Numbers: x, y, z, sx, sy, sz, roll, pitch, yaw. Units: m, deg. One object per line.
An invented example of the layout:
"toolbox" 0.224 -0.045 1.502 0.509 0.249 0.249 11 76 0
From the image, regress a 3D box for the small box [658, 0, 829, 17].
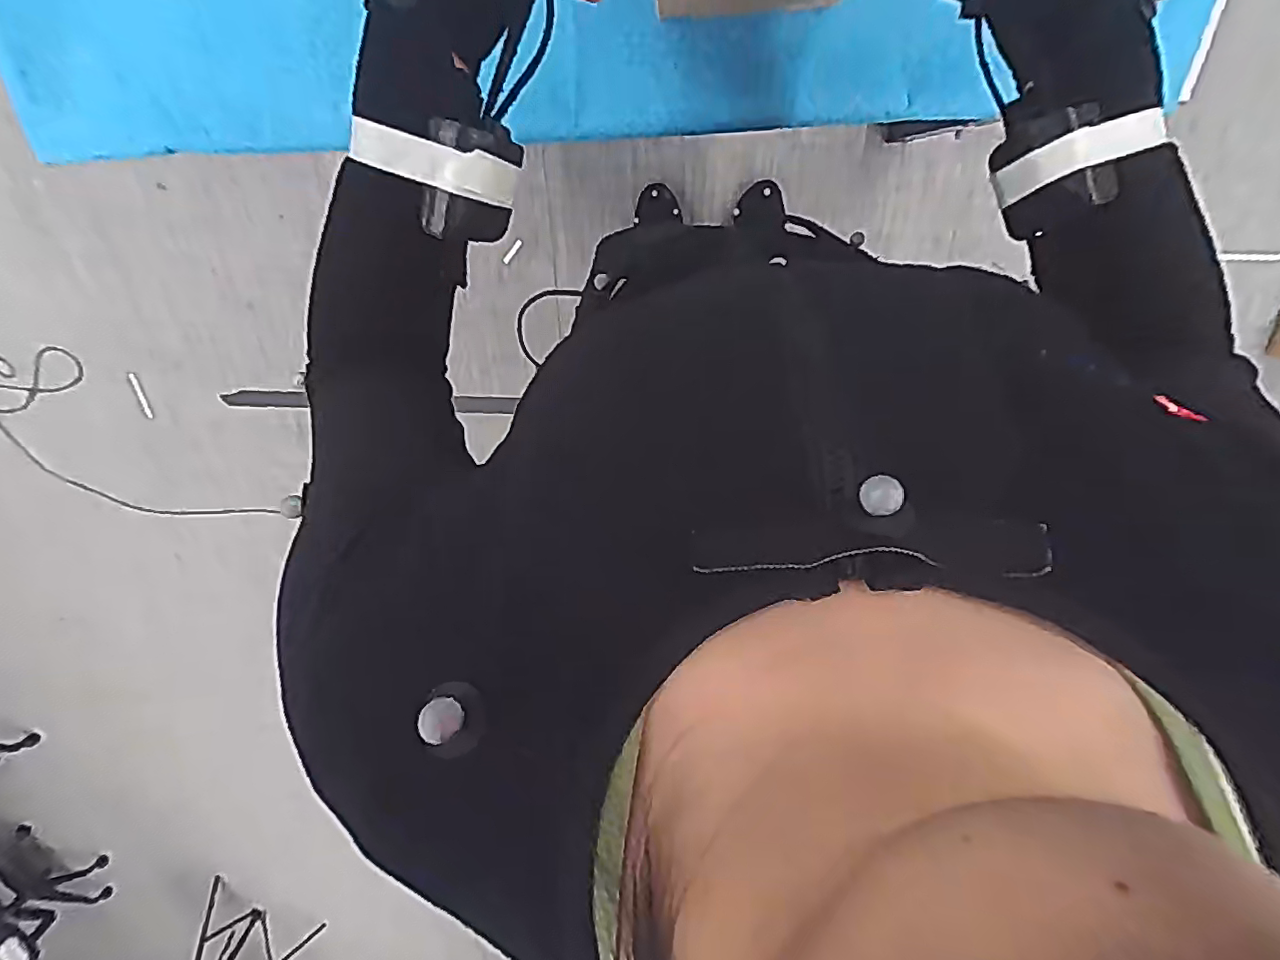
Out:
"small box" 0.094 -0.487 0.419 0.179 0.176 0.168 1 119 5
